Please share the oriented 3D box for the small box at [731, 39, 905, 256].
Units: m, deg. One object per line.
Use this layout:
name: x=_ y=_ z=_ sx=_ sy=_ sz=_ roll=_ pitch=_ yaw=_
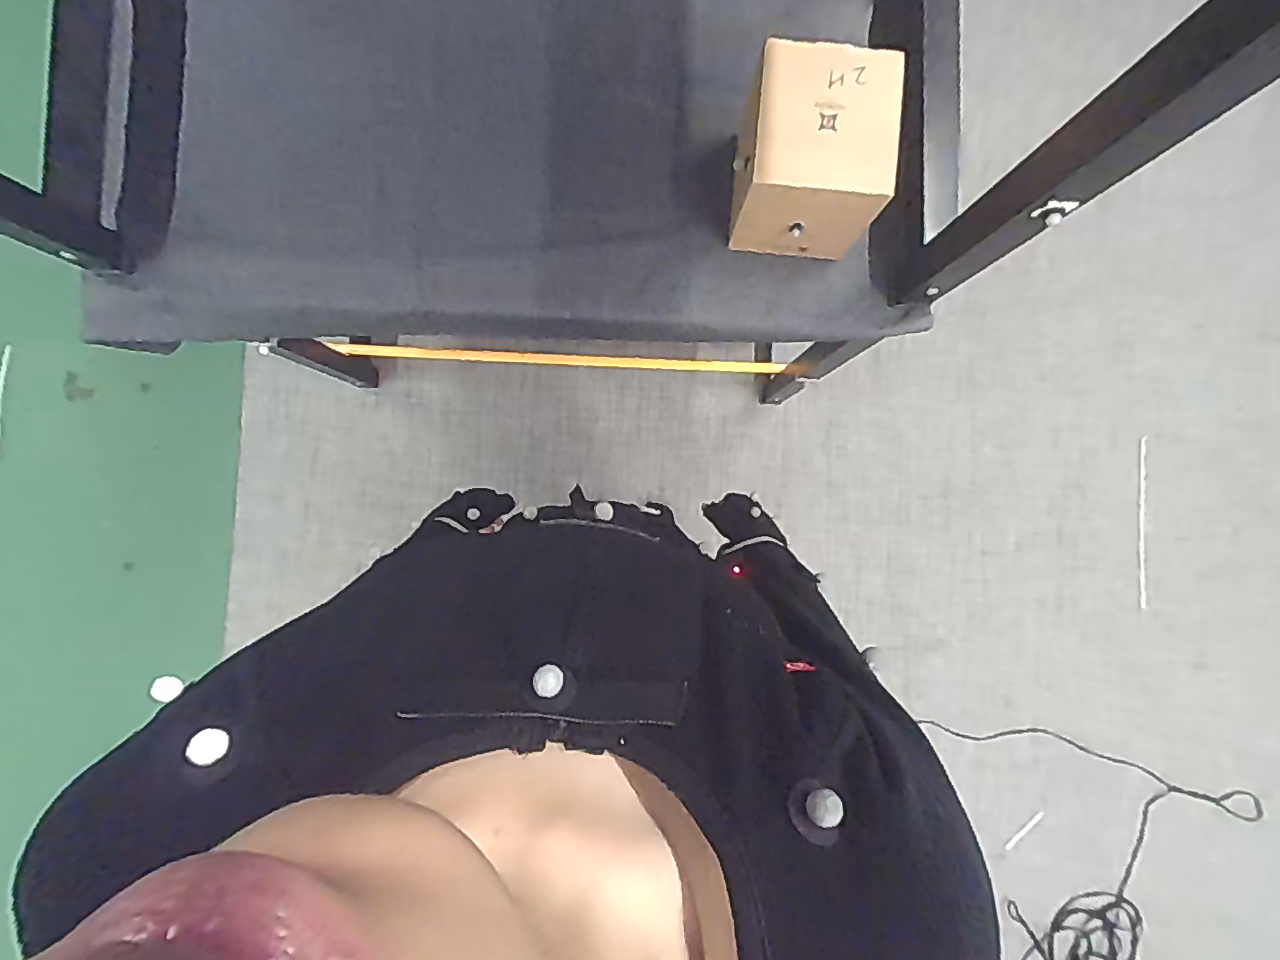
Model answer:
small box: x=0.218 y=-0.416 z=0.705 sx=0.168 sy=0.176 sz=0.179 roll=6 pitch=87 yaw=-1
